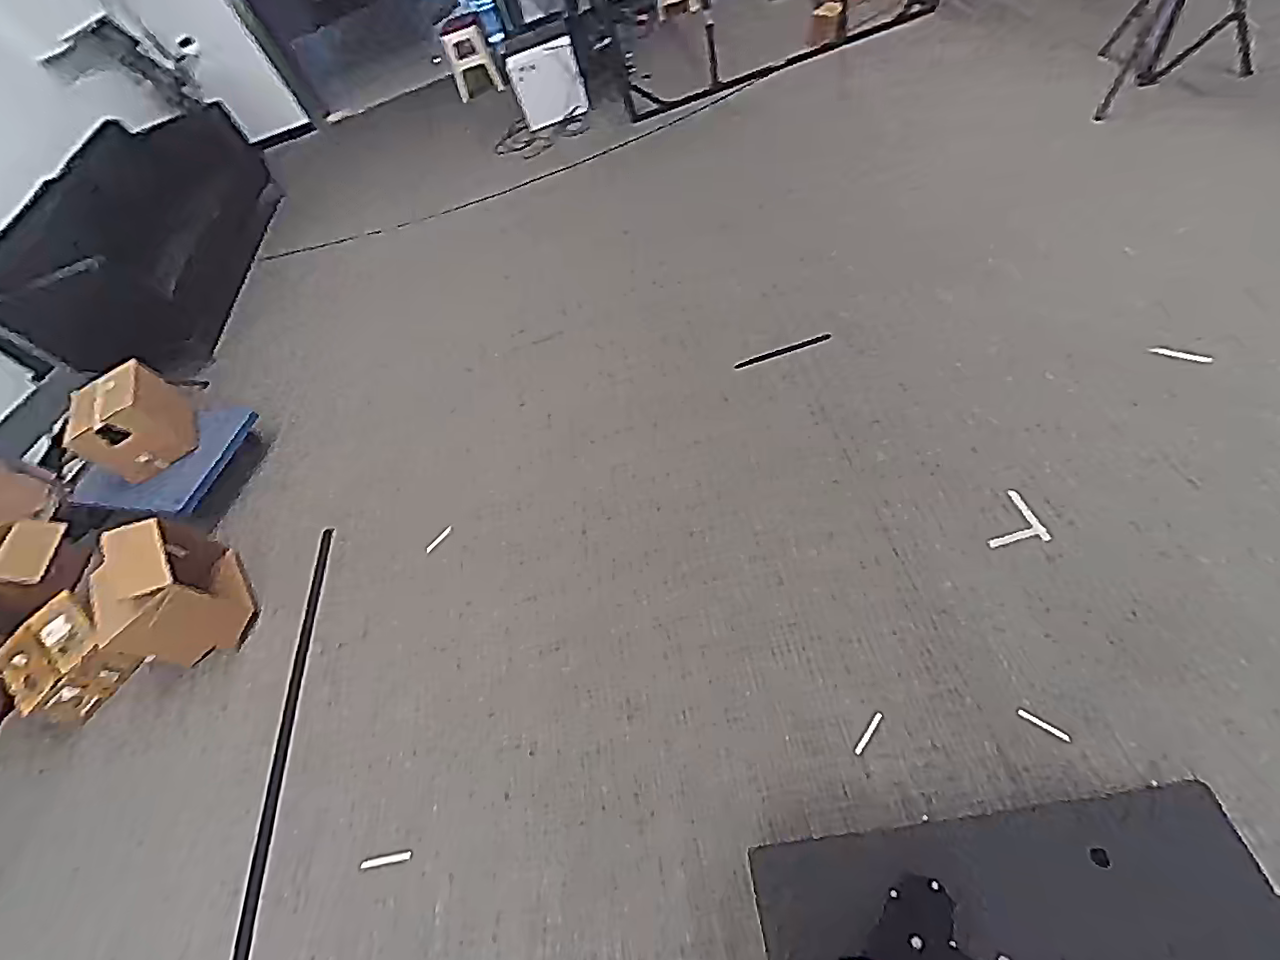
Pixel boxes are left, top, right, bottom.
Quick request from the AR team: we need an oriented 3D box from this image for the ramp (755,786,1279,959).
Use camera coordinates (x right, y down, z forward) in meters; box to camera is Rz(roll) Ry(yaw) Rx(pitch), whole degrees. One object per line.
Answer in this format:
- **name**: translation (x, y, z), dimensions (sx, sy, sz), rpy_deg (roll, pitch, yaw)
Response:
- **ramp**: translation (0.765, 0.931, 1.017), dimensions (0.991, 0.206, 0.509), rpy_deg (-17, 51, 6)
